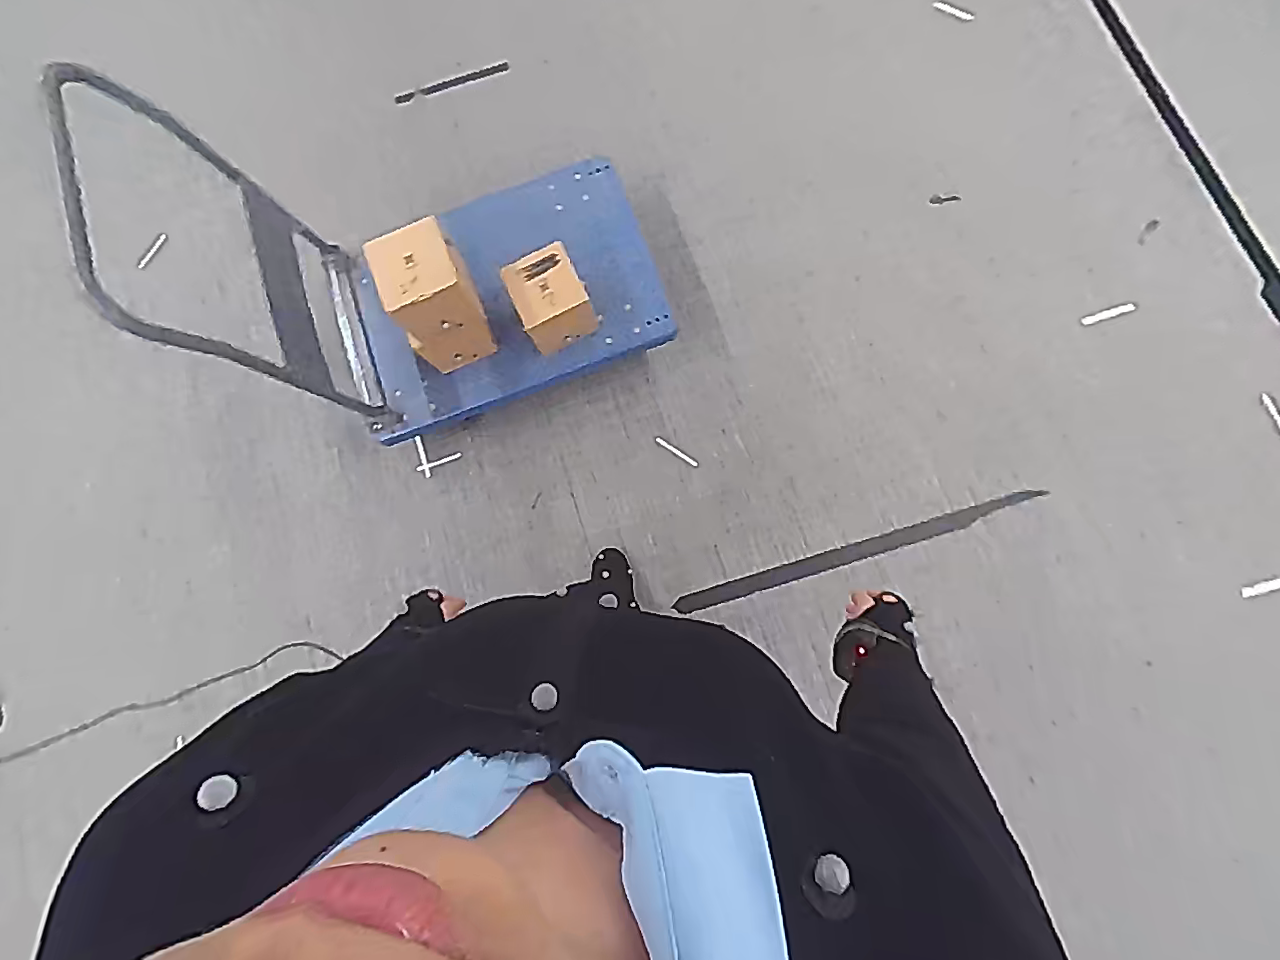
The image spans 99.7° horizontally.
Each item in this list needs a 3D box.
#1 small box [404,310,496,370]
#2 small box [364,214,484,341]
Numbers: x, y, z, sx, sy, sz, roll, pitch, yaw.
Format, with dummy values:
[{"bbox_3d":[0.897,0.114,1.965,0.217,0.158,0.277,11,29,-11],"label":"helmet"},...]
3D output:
[{"bbox_3d":[-0.488,-0.408,1.369,0.168,0.176,0.179,-23,80,0],"label":"small box"},{"bbox_3d":[-0.474,-0.443,1.207,0.168,0.176,0.179,-23,81,0],"label":"small box"}]
